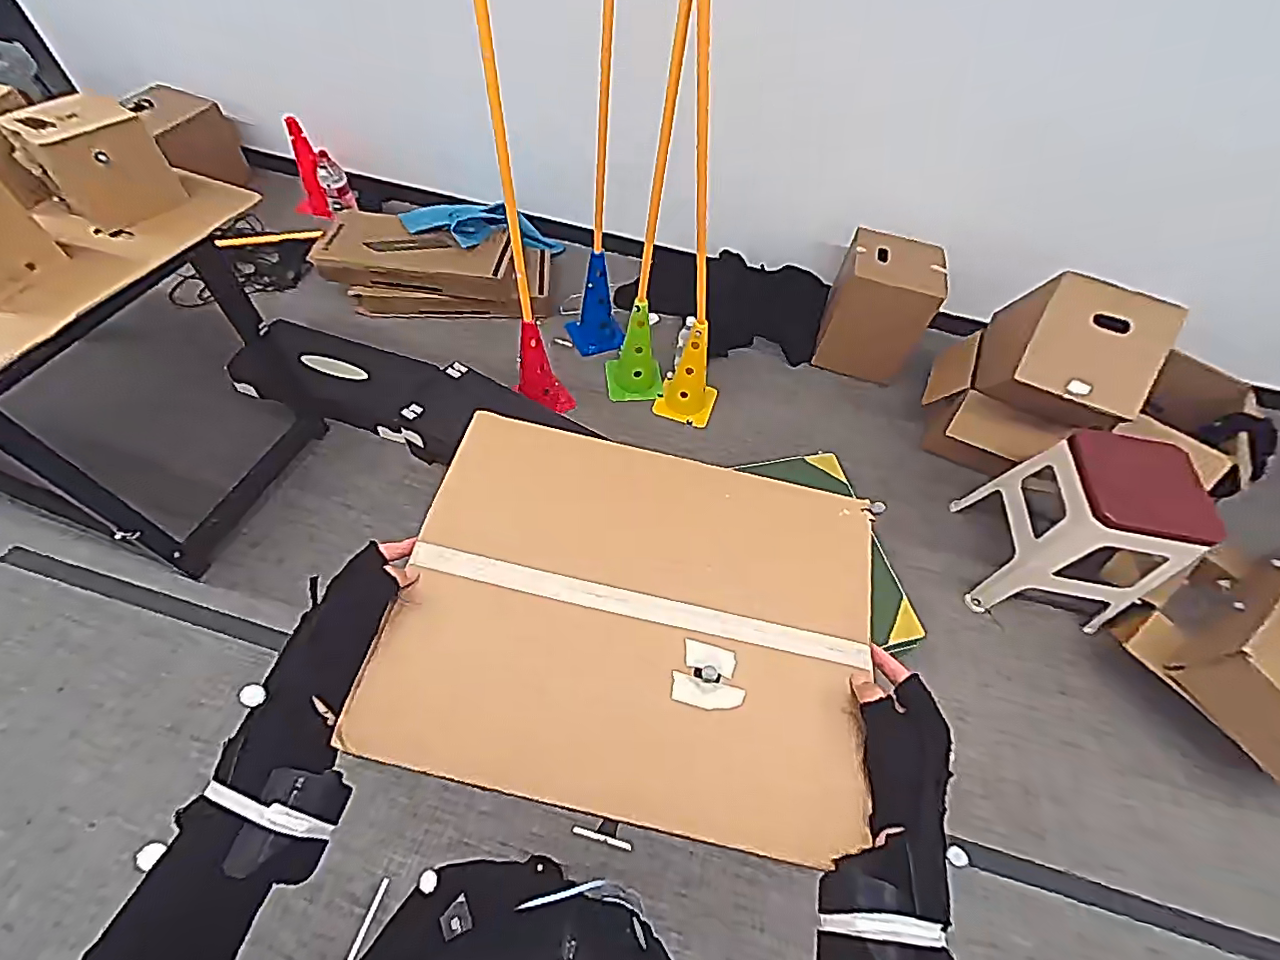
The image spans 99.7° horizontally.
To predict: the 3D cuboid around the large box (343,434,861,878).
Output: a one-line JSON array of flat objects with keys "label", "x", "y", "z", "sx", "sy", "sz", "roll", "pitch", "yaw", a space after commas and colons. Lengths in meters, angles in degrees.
[{"label": "large box", "x": -0.019, "y": 0.194, "z": 0.602, "sx": 0.408, "sy": 0.320, "sz": 0.320, "roll": 13, "pitch": 62, "yaw": 1}]
